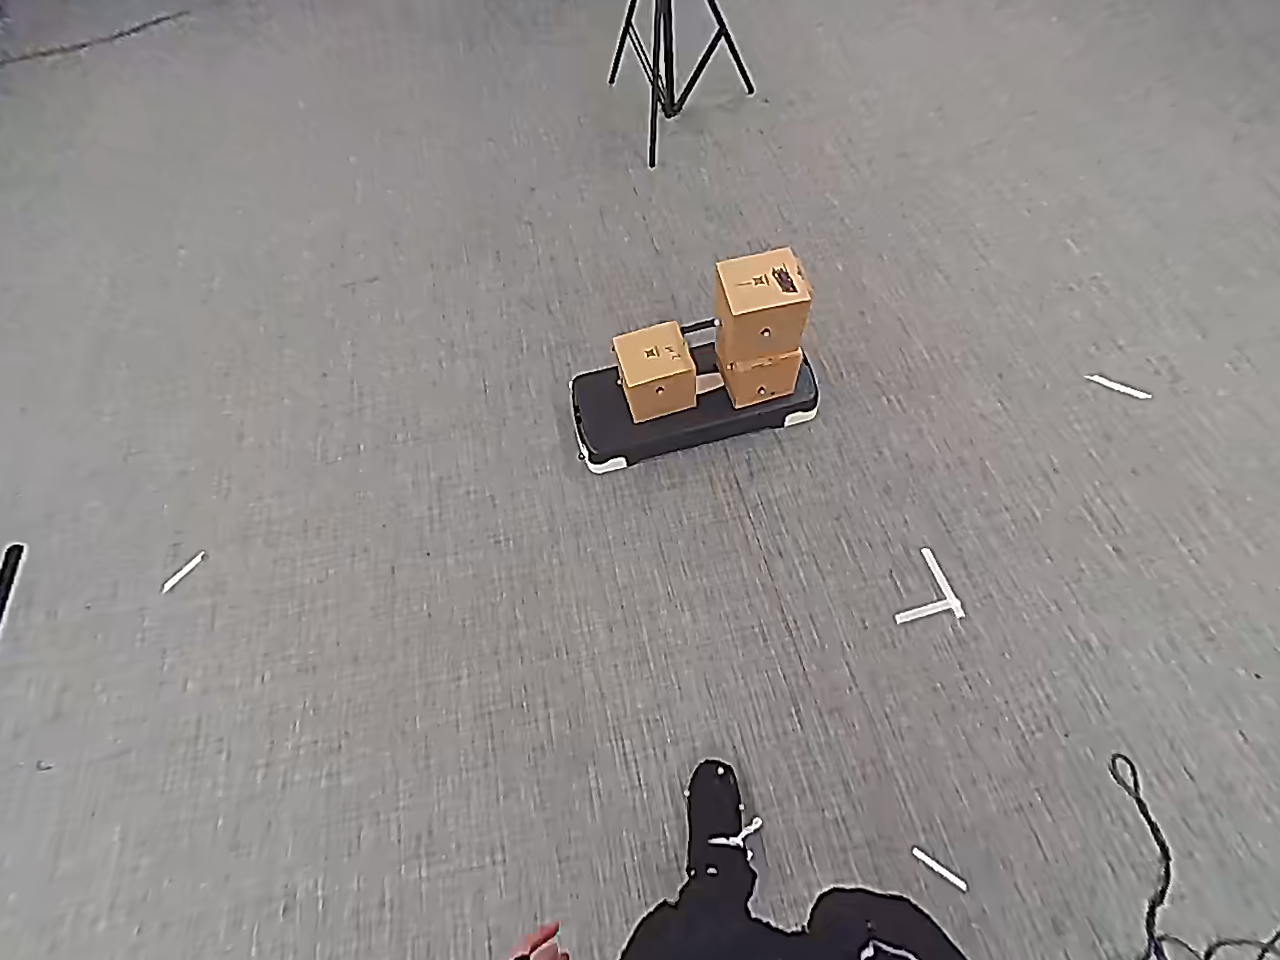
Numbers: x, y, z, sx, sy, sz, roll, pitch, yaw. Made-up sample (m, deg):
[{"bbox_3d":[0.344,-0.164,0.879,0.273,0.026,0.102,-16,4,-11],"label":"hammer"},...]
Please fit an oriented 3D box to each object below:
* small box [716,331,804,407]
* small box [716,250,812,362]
[{"bbox_3d":[0.303,-0.320,1.410,0.168,0.176,0.179,-16,64,-2],"label":"small box"},{"bbox_3d":[0.281,-0.403,1.269,0.179,0.176,0.168,-11,64,1],"label":"small box"}]
